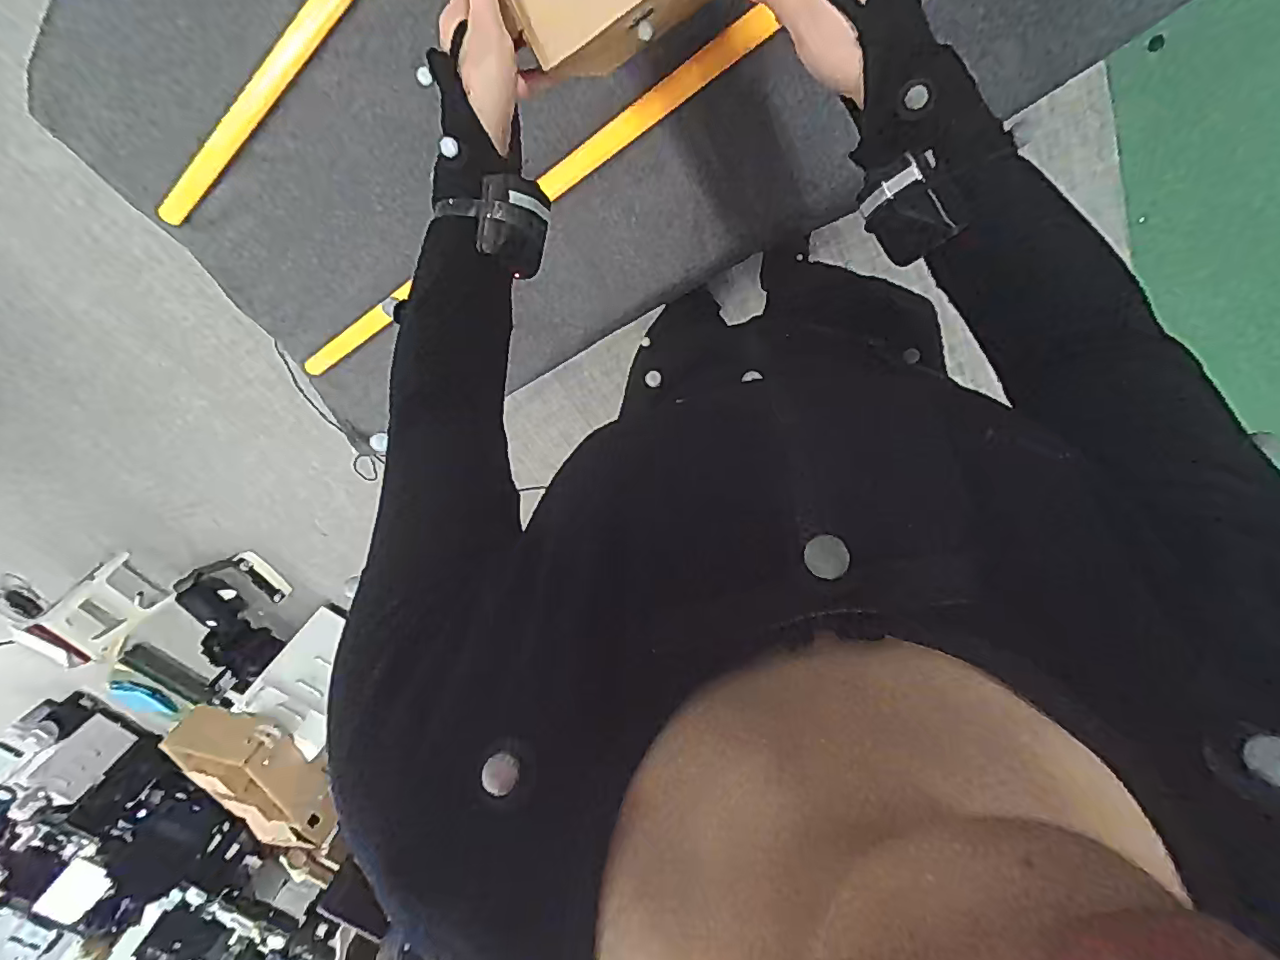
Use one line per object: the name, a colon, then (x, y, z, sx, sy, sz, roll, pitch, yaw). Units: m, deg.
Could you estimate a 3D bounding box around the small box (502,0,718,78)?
small box: (-0.018, -0.433, 0.400, 0.179, 0.176, 0.168, -17, 120, 26)
